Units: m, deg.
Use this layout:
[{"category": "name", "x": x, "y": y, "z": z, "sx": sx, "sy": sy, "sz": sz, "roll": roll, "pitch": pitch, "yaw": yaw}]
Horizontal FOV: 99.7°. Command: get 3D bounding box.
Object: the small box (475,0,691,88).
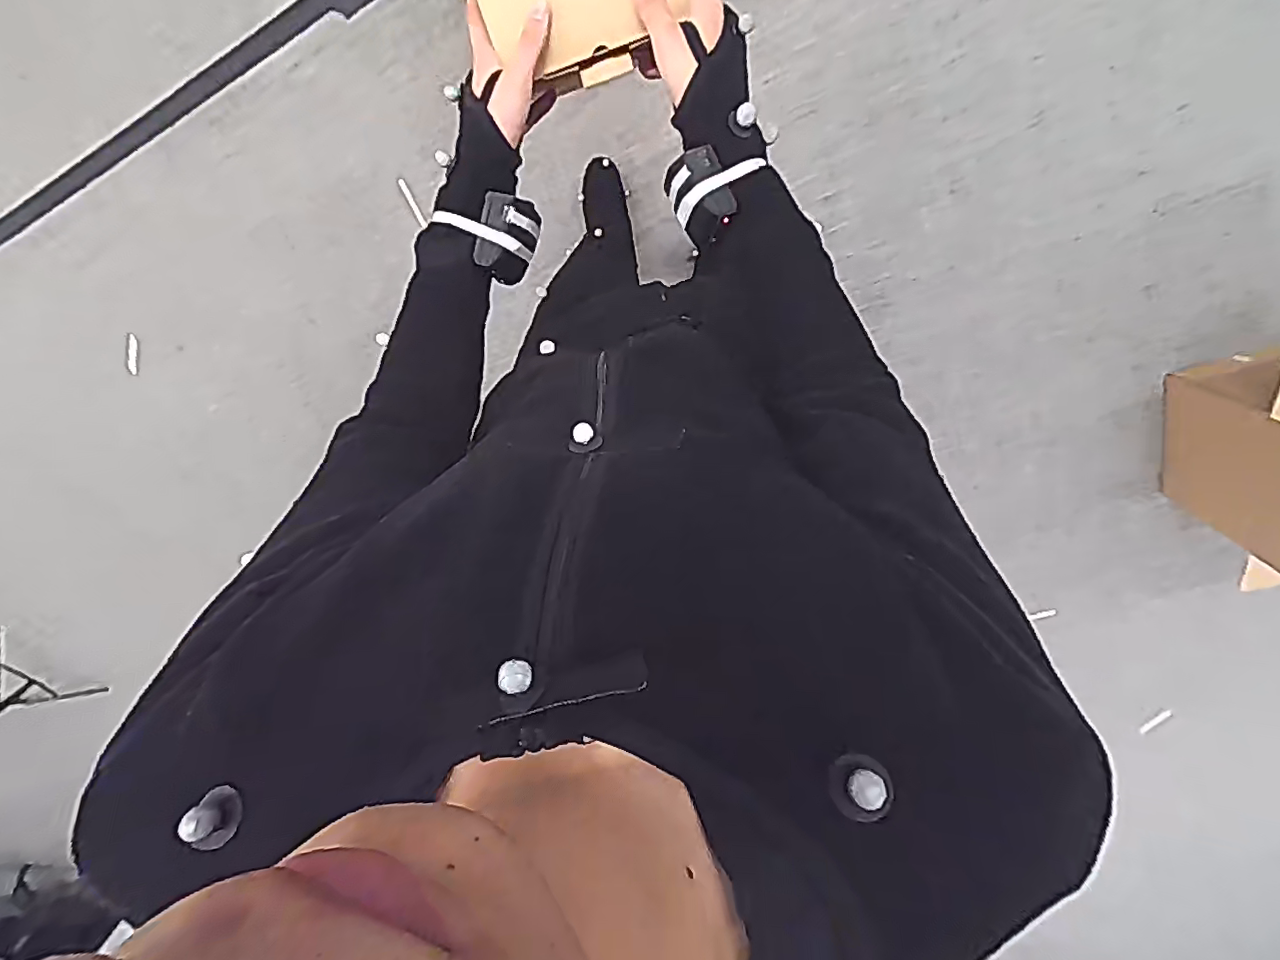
[{"category": "small box", "x": -0.060, "y": -0.457, "z": 0.458, "sx": 0.168, "sy": 0.176, "sz": 0.179, "roll": -15, "pitch": 121, "yaw": 7}]
